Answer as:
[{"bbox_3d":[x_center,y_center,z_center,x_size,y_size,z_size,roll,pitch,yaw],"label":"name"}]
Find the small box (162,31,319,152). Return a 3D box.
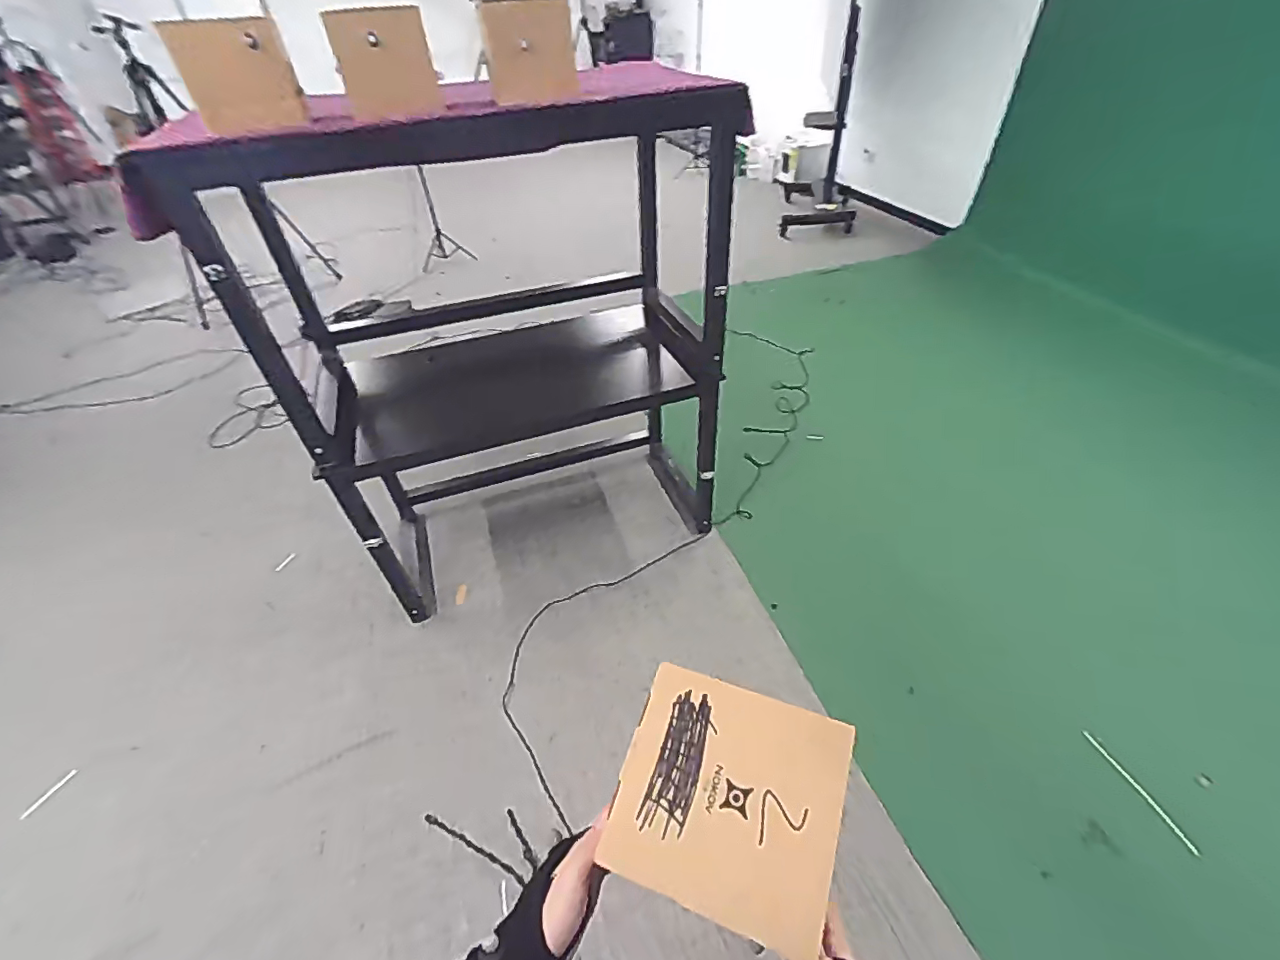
[{"bbox_3d":[-0.752,-0.746,1.040,0.179,0.176,0.168,-18,43,-15],"label":"small box"}]

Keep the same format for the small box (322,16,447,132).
[{"bbox_3d":[-0.507,-0.821,1.097,0.179,0.176,0.168,-15,43,-11],"label":"small box"}]

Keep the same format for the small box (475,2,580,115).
[{"bbox_3d":[-0.239,-0.898,1.155,0.179,0.176,0.168,-15,43,-9],"label":"small box"}]
